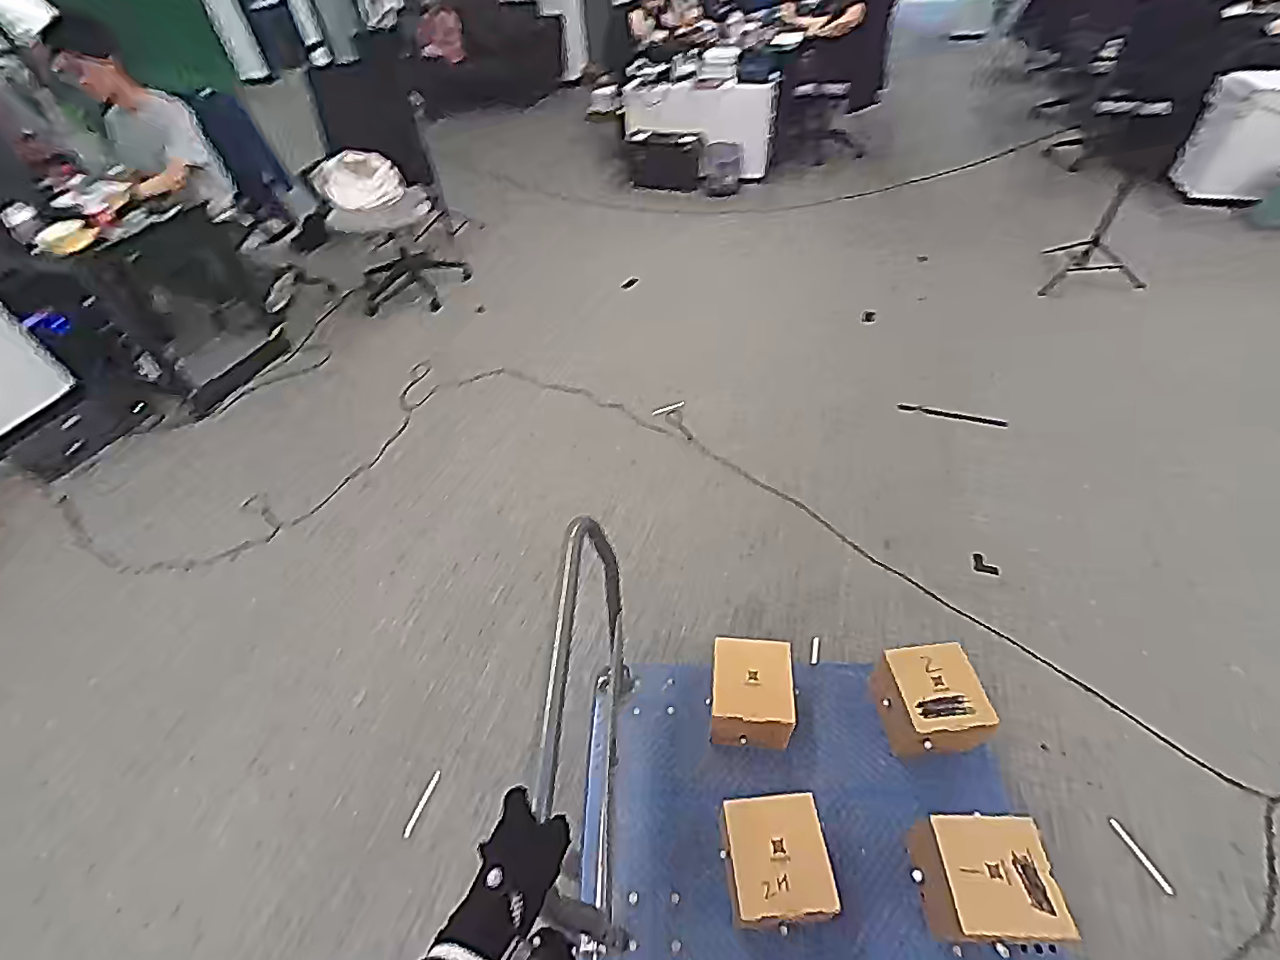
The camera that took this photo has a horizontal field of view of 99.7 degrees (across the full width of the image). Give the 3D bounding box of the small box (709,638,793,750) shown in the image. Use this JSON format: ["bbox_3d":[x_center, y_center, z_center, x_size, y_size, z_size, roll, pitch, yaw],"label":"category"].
[{"bbox_3d":[0.241,0.475,1.202,0.168,0.176,0.179,3,48,7],"label":"small box"}]

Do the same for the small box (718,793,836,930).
[{"bbox_3d":[0.238,0.699,0.991,0.168,0.176,0.179,-5,46,0],"label":"small box"}]

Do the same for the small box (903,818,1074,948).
[{"bbox_3d":[0.594,0.710,0.952,0.179,0.176,0.168,-1,47,5],"label":"small box"}]
